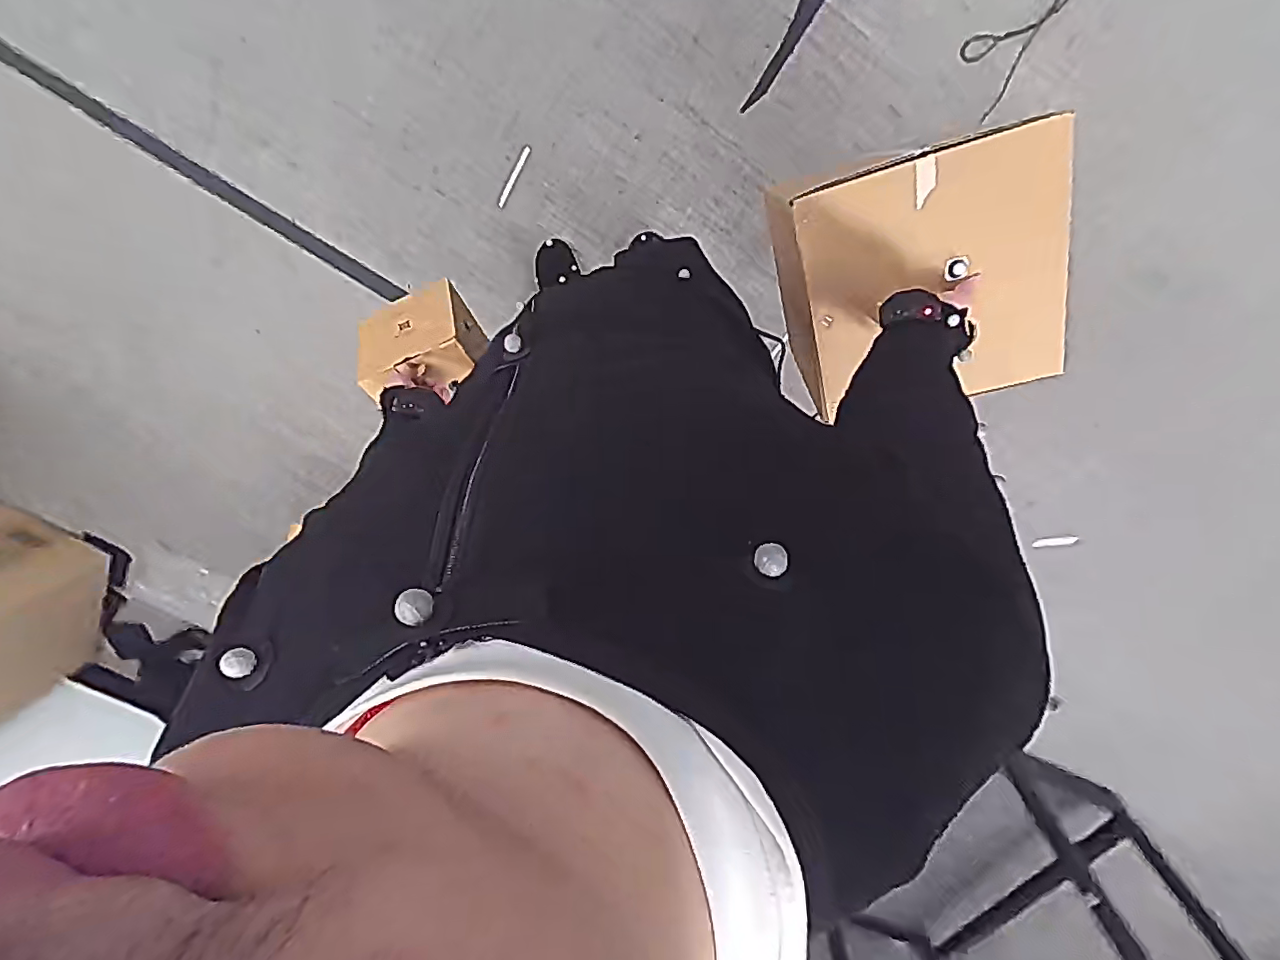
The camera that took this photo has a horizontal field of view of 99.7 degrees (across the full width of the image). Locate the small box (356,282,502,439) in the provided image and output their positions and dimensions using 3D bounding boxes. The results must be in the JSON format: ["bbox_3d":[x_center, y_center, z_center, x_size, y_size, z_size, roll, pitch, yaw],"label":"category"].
[{"bbox_3d":[-0.347,-0.191,0.909,0.168,0.179,0.176,-22,142,2],"label":"small box"}]
